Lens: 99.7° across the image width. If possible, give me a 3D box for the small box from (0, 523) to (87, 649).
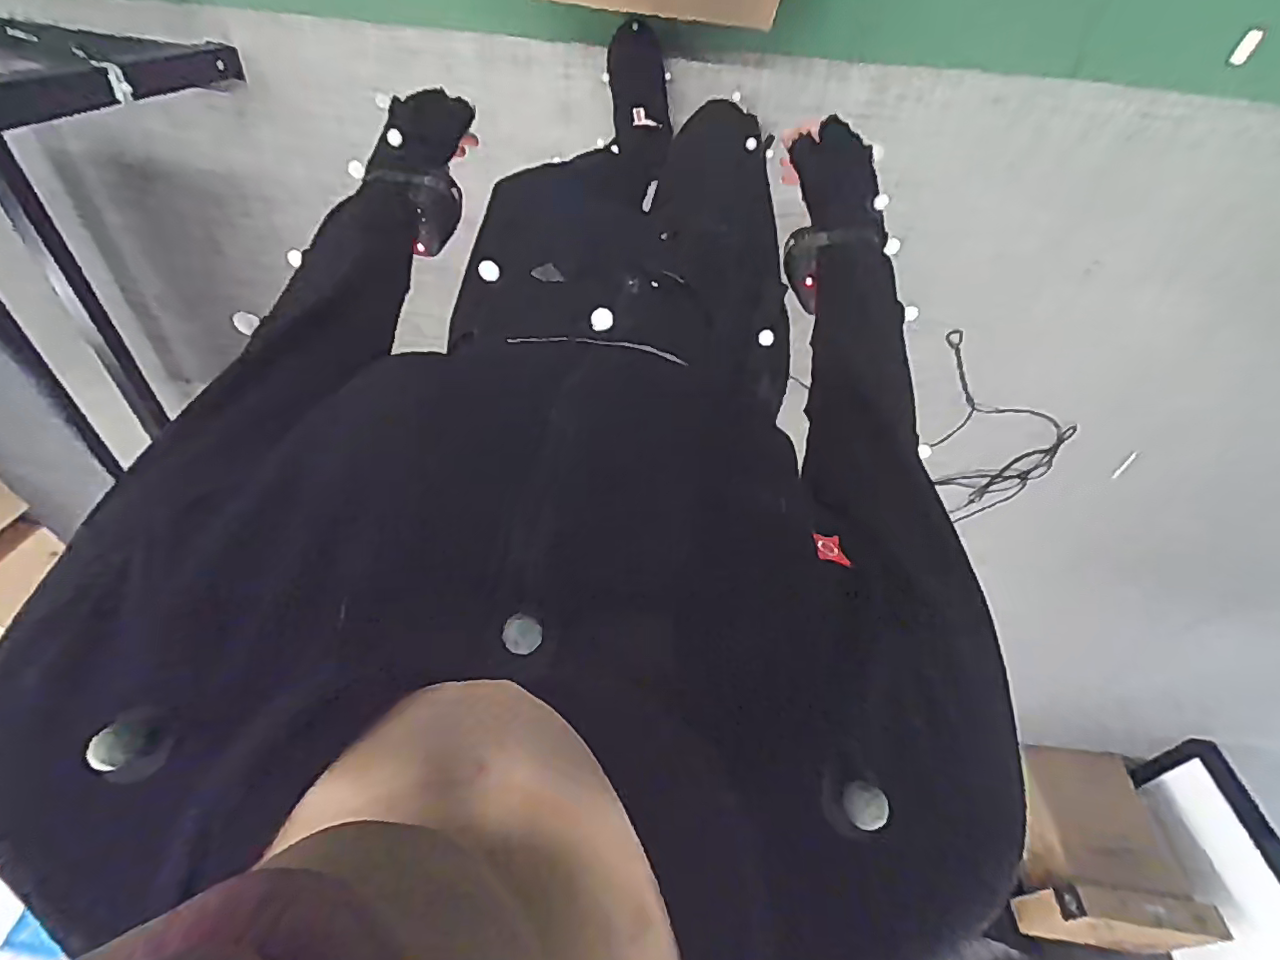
[{"bbox_3d":[-1.208,0.191,1.008,0.179,0.176,0.168,8,133,0],"label":"small box"}]
